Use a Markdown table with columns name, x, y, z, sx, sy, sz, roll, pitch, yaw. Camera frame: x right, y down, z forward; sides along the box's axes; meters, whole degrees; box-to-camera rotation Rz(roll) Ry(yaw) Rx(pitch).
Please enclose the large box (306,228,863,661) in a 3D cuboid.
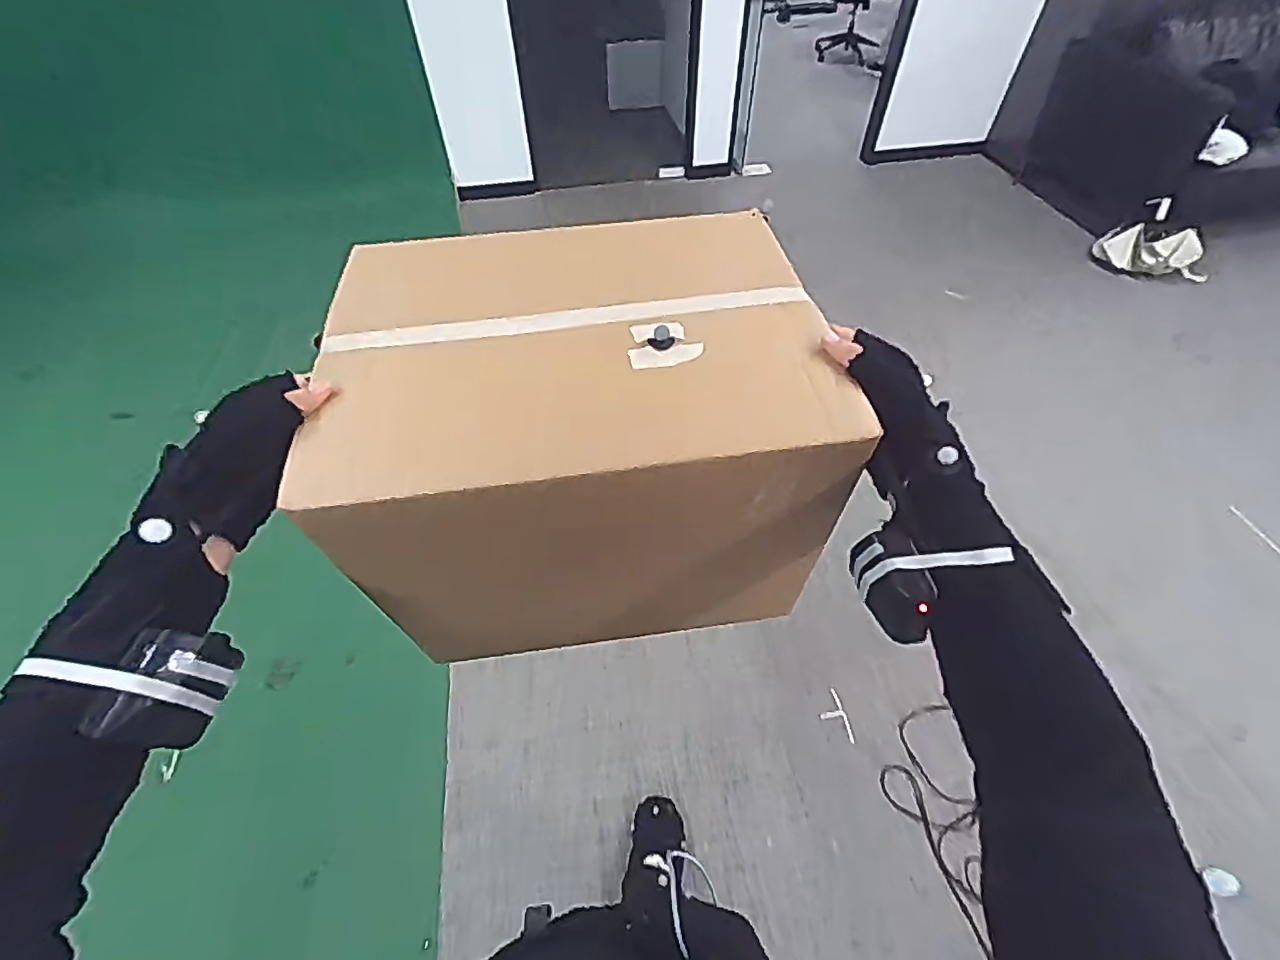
| name | x | y | z | sx | sy | sz | roll | pitch | yaw |
| --- | --- | --- | --- | --- | --- | --- | --- | --- | --- |
| large box | -0.053 | -0.032 | 0.584 | 0.408 | 0.320 | 0.320 | -7 | 54 | -5 |
